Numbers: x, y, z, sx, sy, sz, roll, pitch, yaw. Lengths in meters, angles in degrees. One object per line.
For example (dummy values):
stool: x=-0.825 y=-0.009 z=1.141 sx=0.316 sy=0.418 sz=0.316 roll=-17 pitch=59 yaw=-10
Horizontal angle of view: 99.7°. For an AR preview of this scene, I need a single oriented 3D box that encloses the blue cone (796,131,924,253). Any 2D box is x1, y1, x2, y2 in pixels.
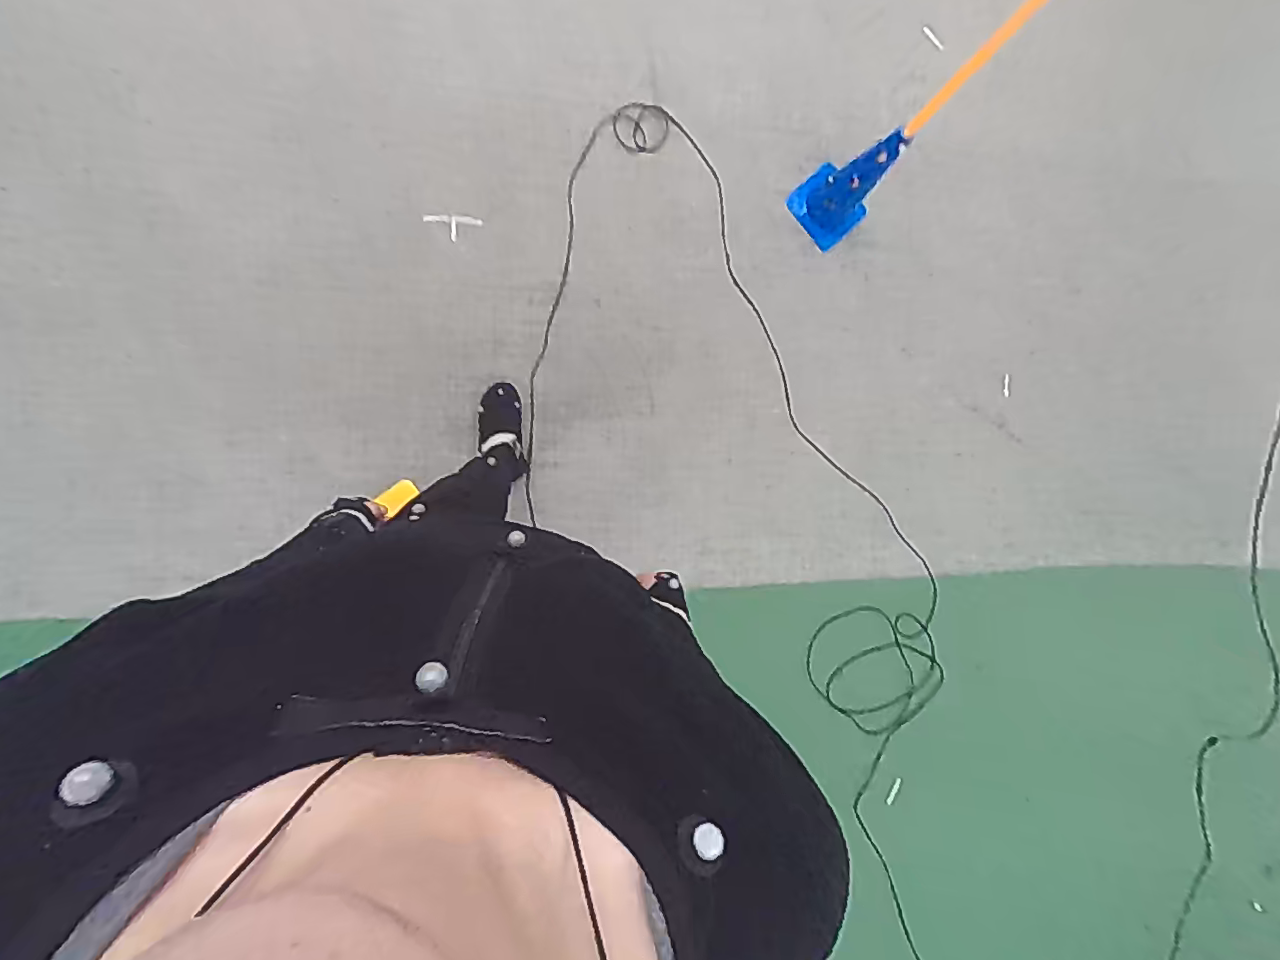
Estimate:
blue cone: x=0.599 y=-0.795 z=1.431 sx=0.193 sy=0.380 sz=0.192 roll=-45 pitch=98 yaw=-9
